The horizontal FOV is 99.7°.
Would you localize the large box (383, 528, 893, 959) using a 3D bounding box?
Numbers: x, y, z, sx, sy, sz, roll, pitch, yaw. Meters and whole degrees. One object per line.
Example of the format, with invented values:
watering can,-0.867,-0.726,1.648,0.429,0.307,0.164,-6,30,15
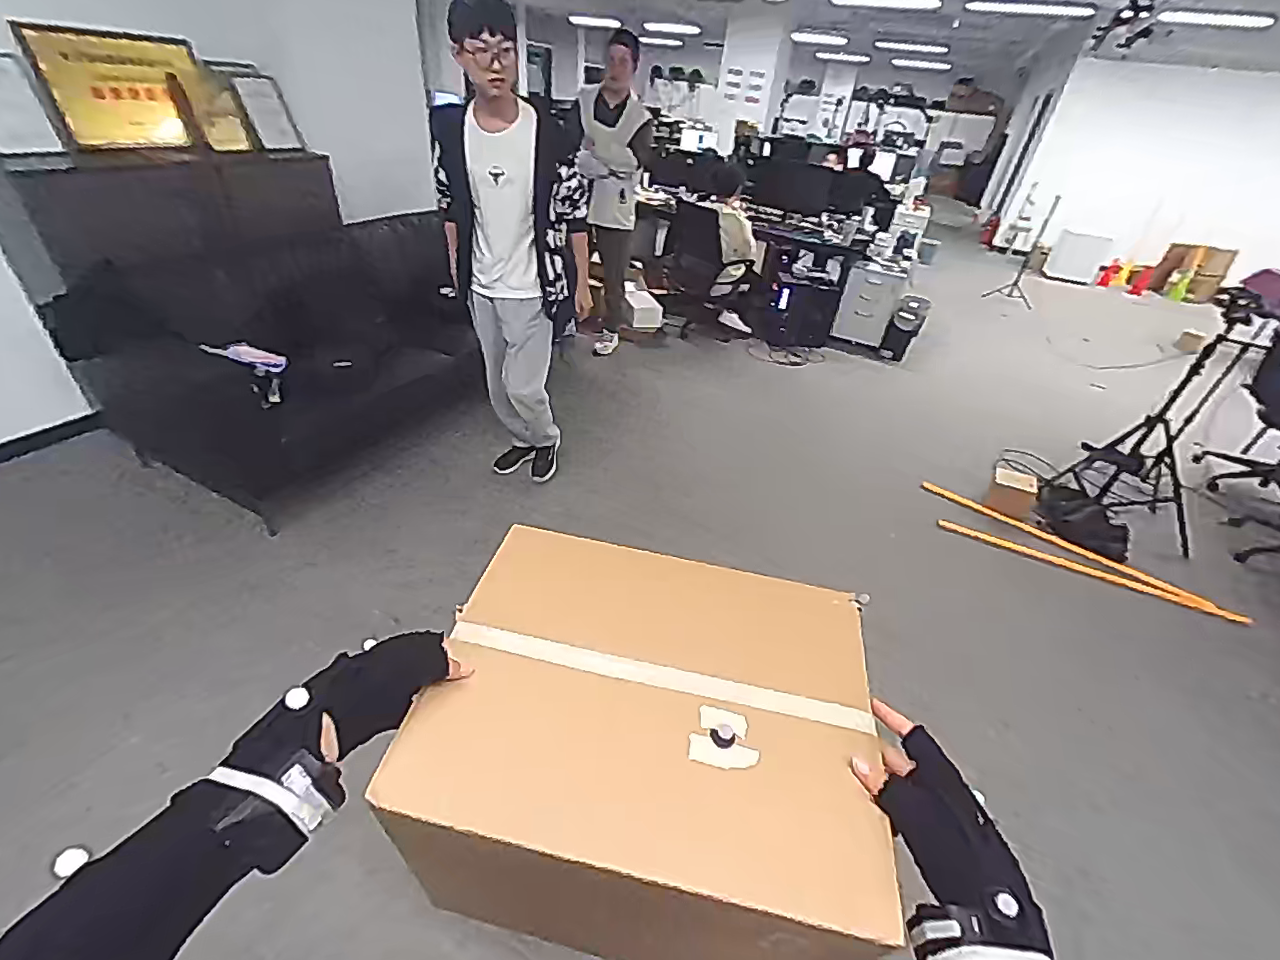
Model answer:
large box,0.000,0.300,0.613,0.408,0.320,0.320,12,40,5
